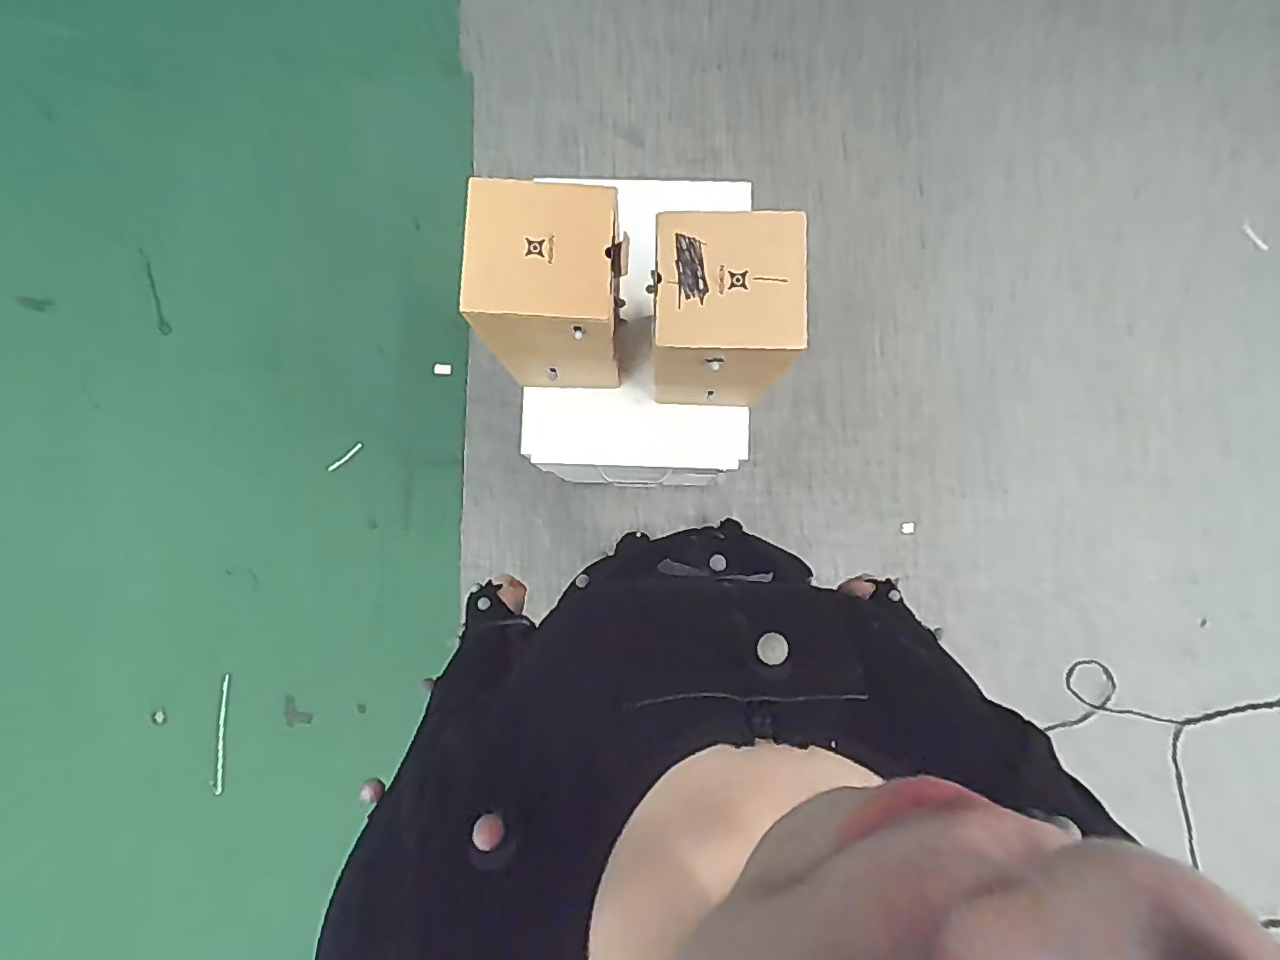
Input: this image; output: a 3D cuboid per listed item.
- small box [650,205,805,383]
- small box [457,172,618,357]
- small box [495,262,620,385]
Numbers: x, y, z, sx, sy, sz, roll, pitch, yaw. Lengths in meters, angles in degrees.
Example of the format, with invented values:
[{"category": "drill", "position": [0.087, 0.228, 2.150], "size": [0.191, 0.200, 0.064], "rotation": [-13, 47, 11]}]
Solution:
[{"category": "small box", "position": [0.103, -0.229, 0.700], "size": [0.179, 0.176, 0.168], "rotation": [2, 84, 1]}, {"category": "small box", "position": [-0.121, -0.267, 0.705], "size": [0.179, 0.176, 0.168], "rotation": [3, 84, -2]}, {"category": "small box", "position": [-0.123, -0.254, 0.869], "size": [0.179, 0.176, 0.168], "rotation": [1, 85, -2]}]
